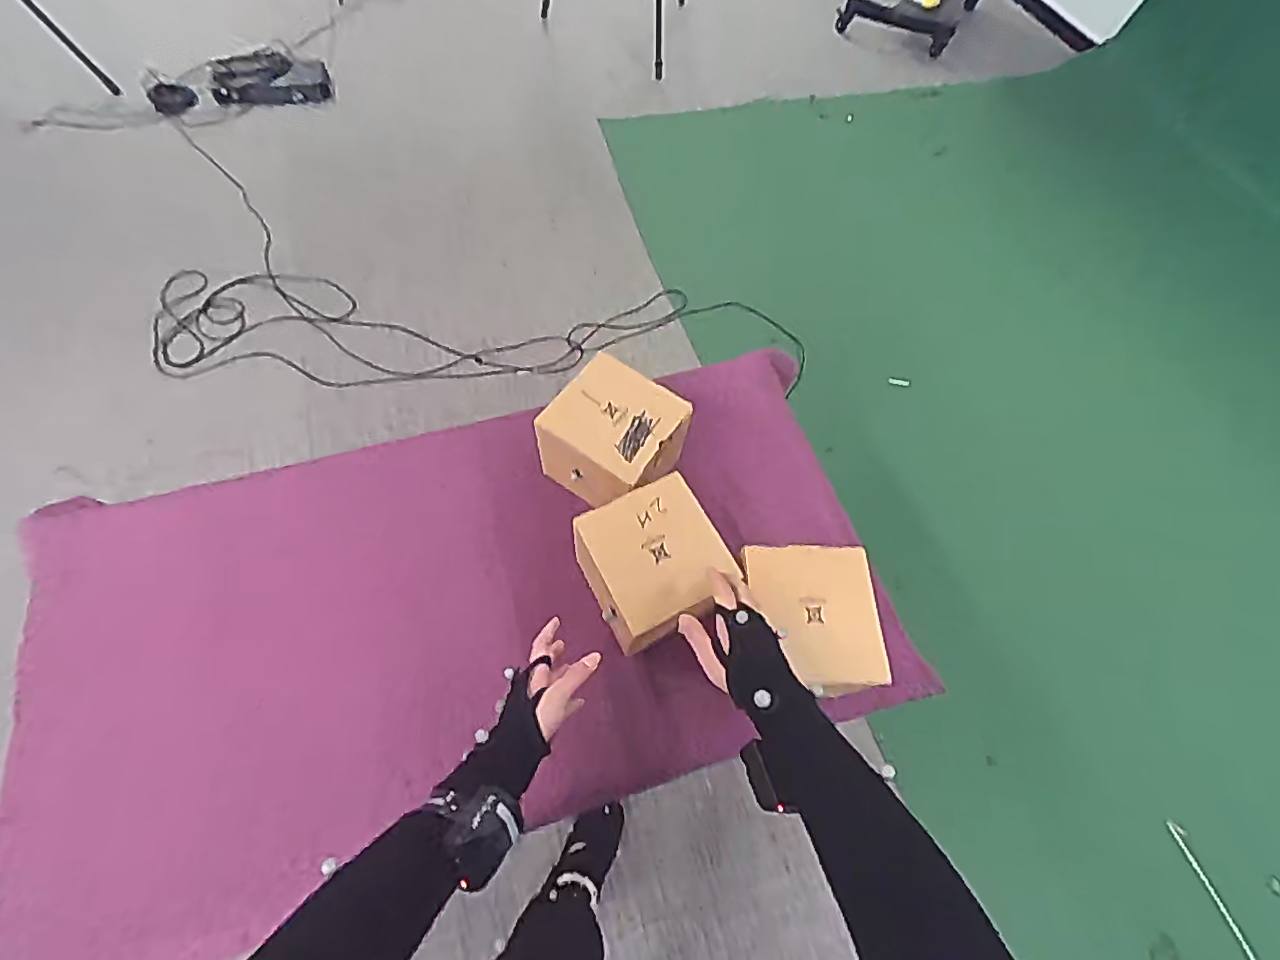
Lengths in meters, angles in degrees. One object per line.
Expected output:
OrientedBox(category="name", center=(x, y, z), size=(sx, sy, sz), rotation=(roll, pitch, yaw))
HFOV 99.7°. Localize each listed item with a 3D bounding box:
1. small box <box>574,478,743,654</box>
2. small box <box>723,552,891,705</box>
OrientedBox(category="small box", center=(0.019, 0.132, 0.769), size=(0.168, 0.176, 0.179), rotation=(-24, 67, -16))
OrientedBox(category="small box", center=(0.214, 0.210, 0.745), size=(0.168, 0.176, 0.179), rotation=(2, 61, -3))
